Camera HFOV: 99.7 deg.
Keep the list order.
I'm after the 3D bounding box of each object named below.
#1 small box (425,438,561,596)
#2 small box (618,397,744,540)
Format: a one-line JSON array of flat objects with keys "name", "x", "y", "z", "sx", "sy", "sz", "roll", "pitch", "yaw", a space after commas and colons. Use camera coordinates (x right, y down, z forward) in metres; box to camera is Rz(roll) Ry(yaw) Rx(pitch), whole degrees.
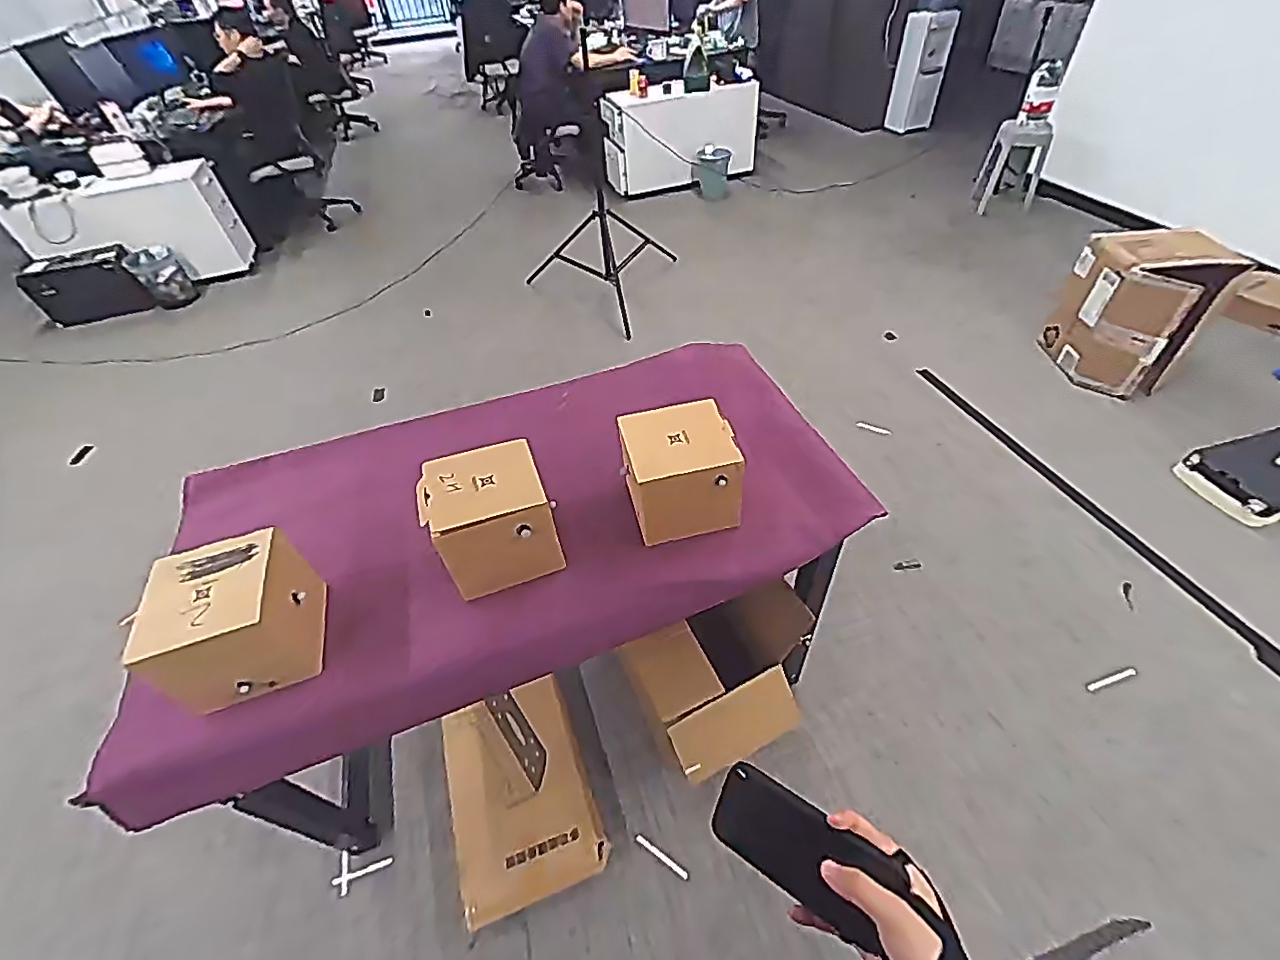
[{"name": "small box", "x": -0.237, "y": 0.063, "z": 0.899, "sx": 0.179, "sy": 0.176, "sz": 0.168, "roll": -18, "pitch": 45, "yaw": -11}, {"name": "small box", "x": 0.069, "y": -0.016, "z": 0.945, "sx": 0.179, "sy": 0.176, "sz": 0.168, "roll": -12, "pitch": 47, "yaw": -7}]
